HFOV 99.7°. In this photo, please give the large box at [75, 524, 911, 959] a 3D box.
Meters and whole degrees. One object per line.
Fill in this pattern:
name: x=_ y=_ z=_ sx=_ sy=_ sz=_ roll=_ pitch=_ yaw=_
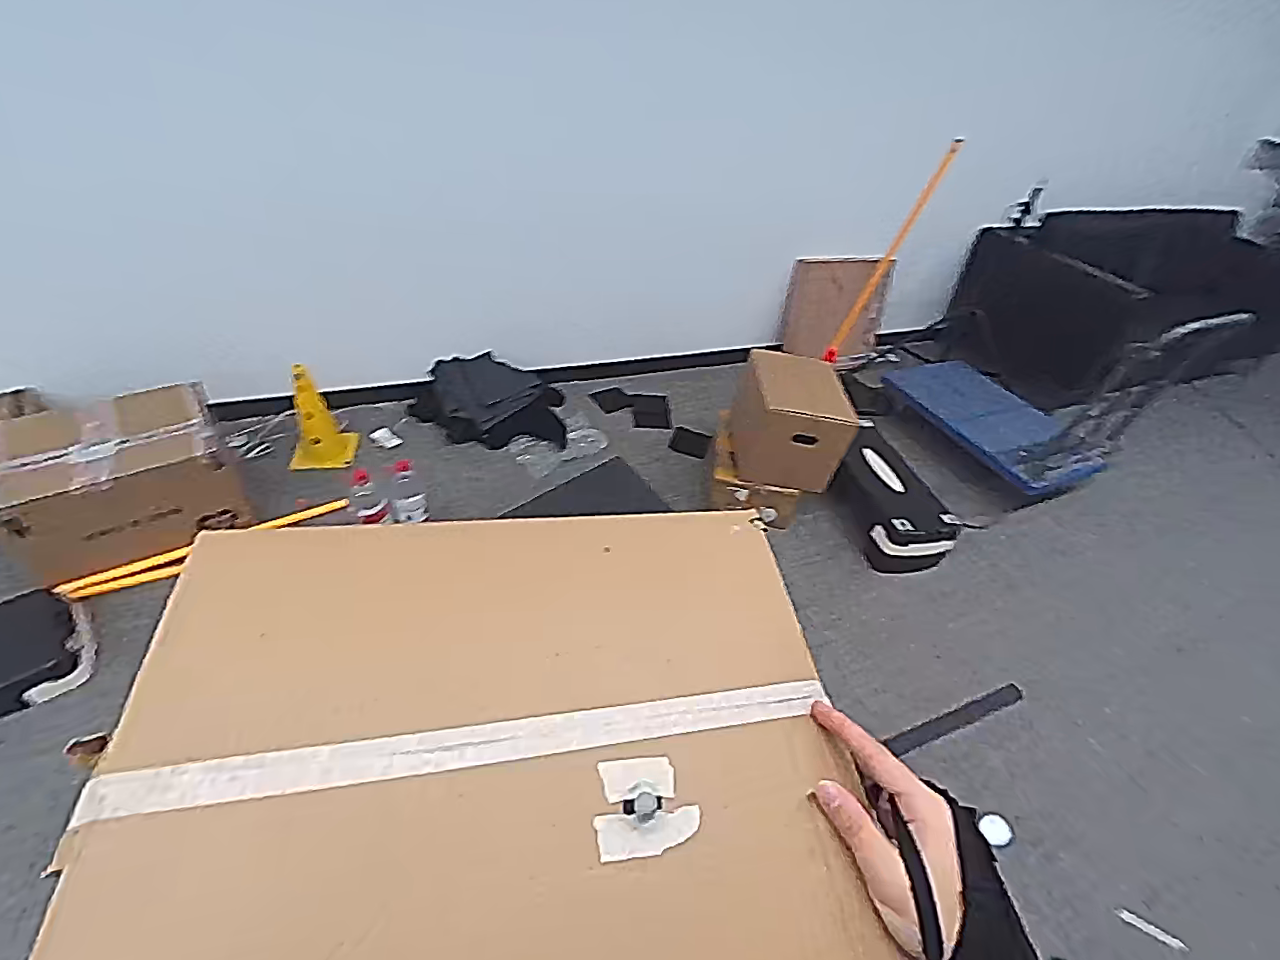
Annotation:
large box: x=-0.097 y=0.254 z=0.437 sx=0.408 sy=0.320 sz=0.320 roll=-1 pitch=52 yaw=-15
